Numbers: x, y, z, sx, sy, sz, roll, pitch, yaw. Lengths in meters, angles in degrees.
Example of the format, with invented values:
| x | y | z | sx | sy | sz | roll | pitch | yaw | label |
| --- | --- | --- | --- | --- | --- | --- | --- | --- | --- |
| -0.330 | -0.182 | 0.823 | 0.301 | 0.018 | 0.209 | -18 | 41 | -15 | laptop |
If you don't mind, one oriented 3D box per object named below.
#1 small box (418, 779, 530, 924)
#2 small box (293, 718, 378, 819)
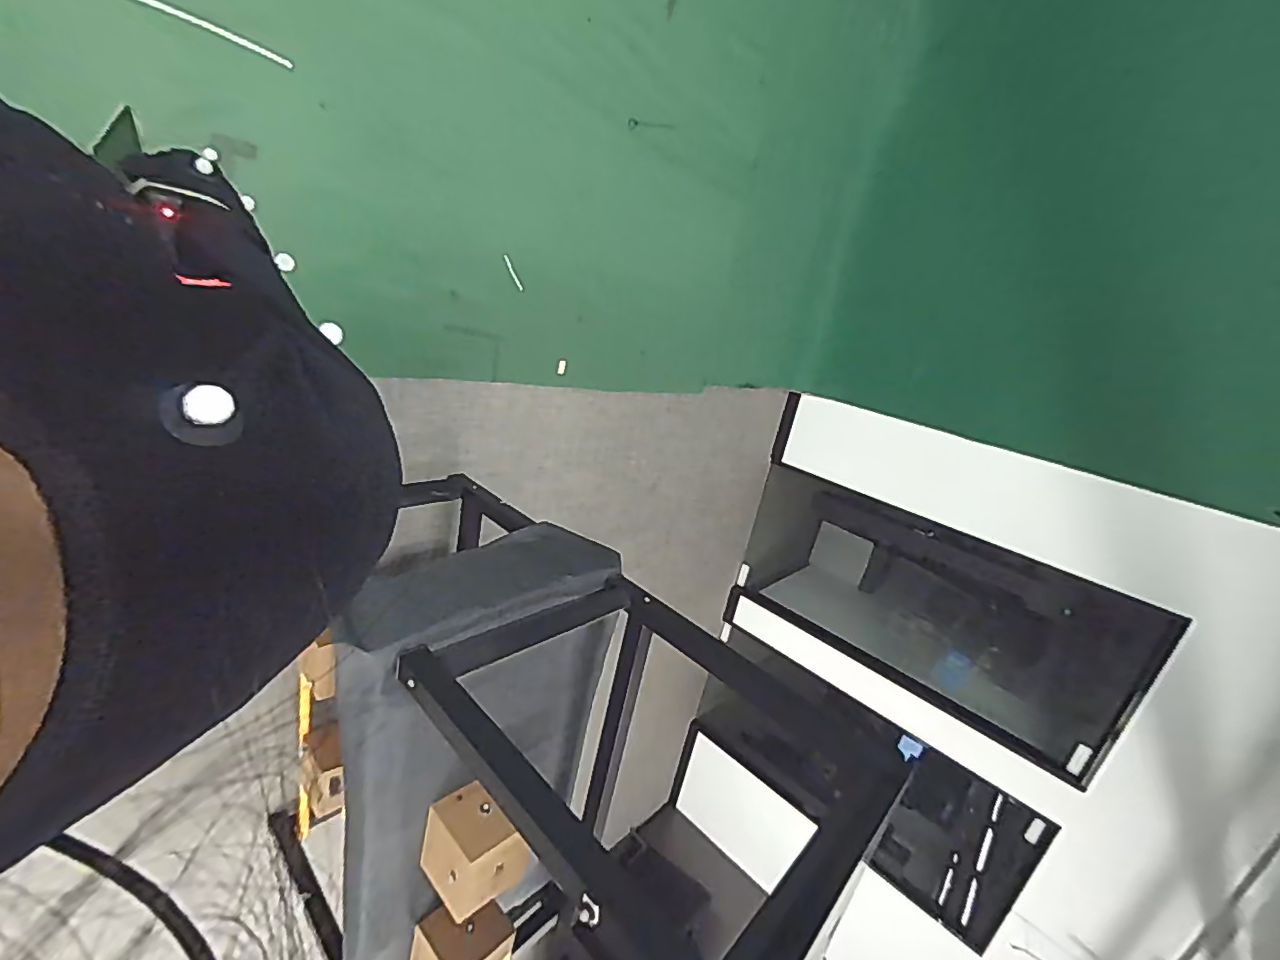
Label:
| x | y | z | sx | sy | sz | roll | pitch | yaw | label |
| --- | --- | --- | --- | --- | --- | --- | --- | --- | --- |
| -0.371 | 0.803 | 1.198 | 0.168 | 0.176 | 0.179 | -5 | 114 | -50 | small box |
| -0.914 | 0.853 | 1.617 | 0.179 | 0.176 | 0.168 | -4 | 114 | -50 | small box |
